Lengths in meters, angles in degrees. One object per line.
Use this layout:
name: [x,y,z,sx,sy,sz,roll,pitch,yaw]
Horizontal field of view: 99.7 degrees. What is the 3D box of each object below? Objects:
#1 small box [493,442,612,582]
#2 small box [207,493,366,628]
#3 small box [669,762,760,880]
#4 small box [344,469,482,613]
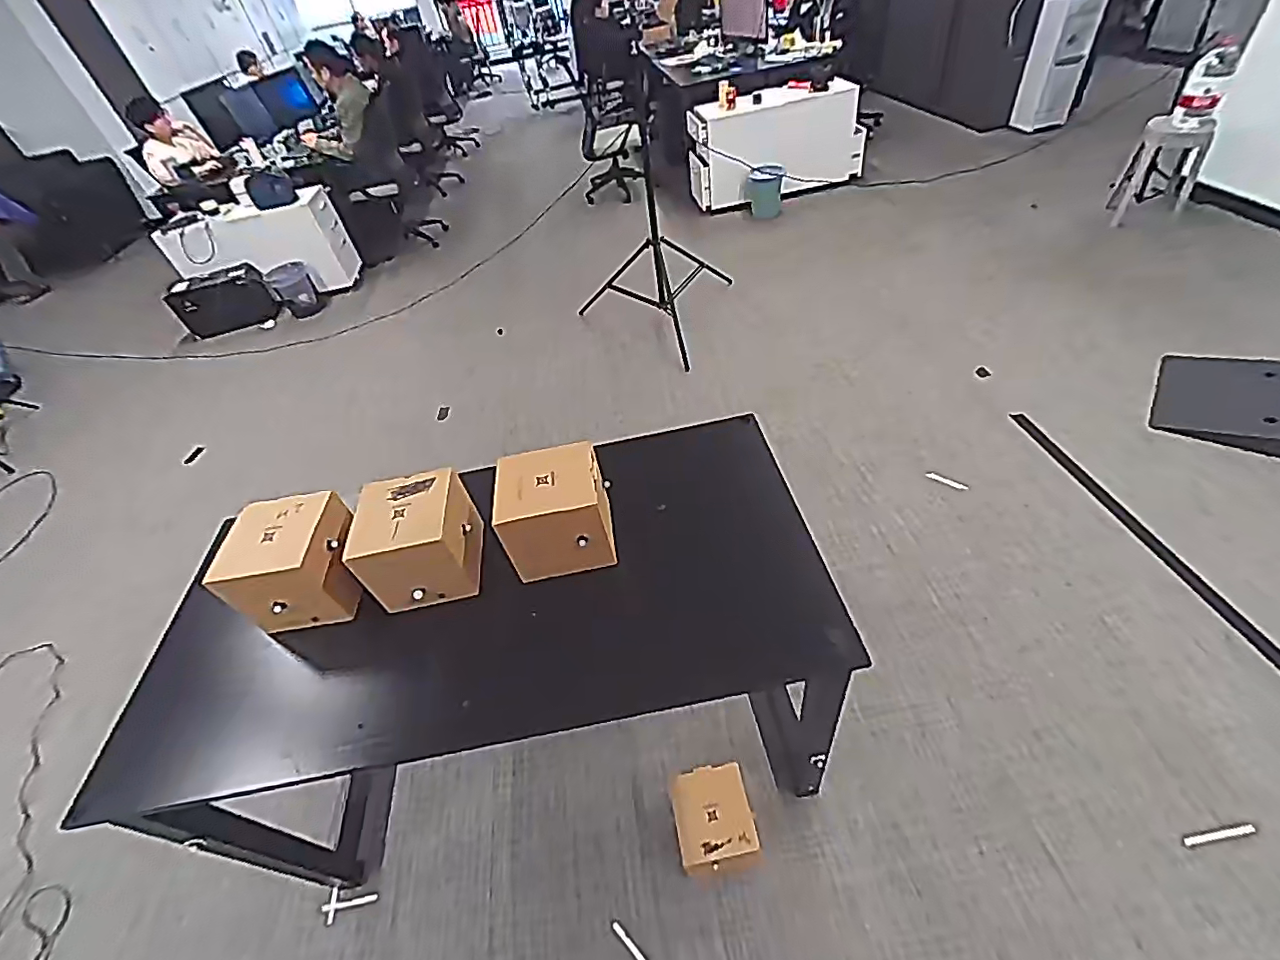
small box: [-0.150,0.061,0.978,0.179,0.176,0.168,-13,43,1]
small box: [-0.614,0.153,0.981,0.168,0.176,0.179,-9,45,1]
small box: [0.169,0.779,1.233,0.168,0.176,0.179,-13,44,0]
small box: [-0.394,0.111,0.976,0.168,0.176,0.179,-12,46,-1]
